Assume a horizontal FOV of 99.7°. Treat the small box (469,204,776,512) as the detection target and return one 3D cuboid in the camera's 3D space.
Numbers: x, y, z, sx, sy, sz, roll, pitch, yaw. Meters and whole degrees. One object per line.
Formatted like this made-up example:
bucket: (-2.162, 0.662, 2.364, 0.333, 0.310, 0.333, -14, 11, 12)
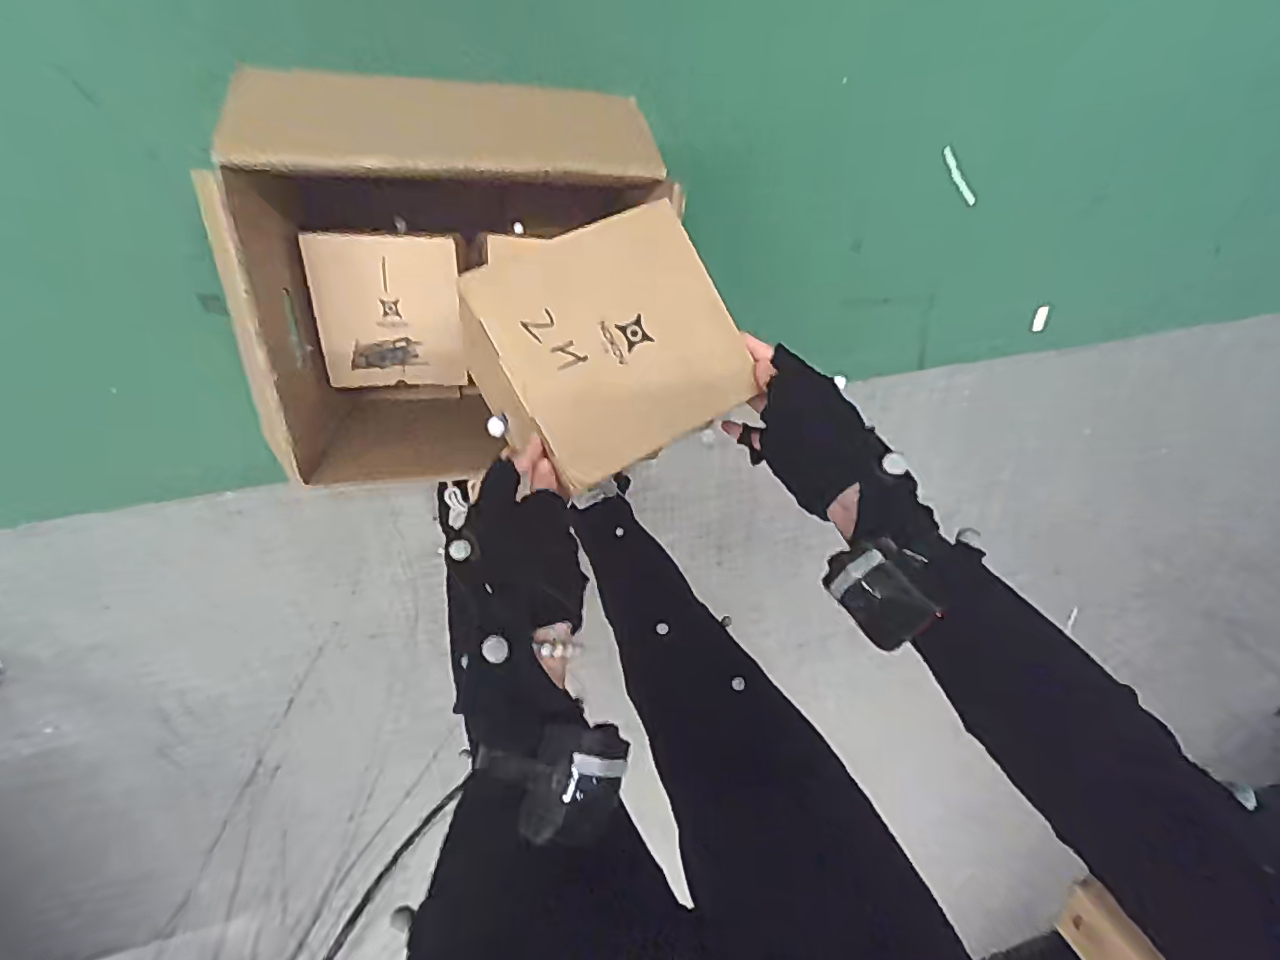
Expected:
small box: (-0.028, -0.086, 0.455, 0.179, 0.176, 0.168, -30, 91, -18)
